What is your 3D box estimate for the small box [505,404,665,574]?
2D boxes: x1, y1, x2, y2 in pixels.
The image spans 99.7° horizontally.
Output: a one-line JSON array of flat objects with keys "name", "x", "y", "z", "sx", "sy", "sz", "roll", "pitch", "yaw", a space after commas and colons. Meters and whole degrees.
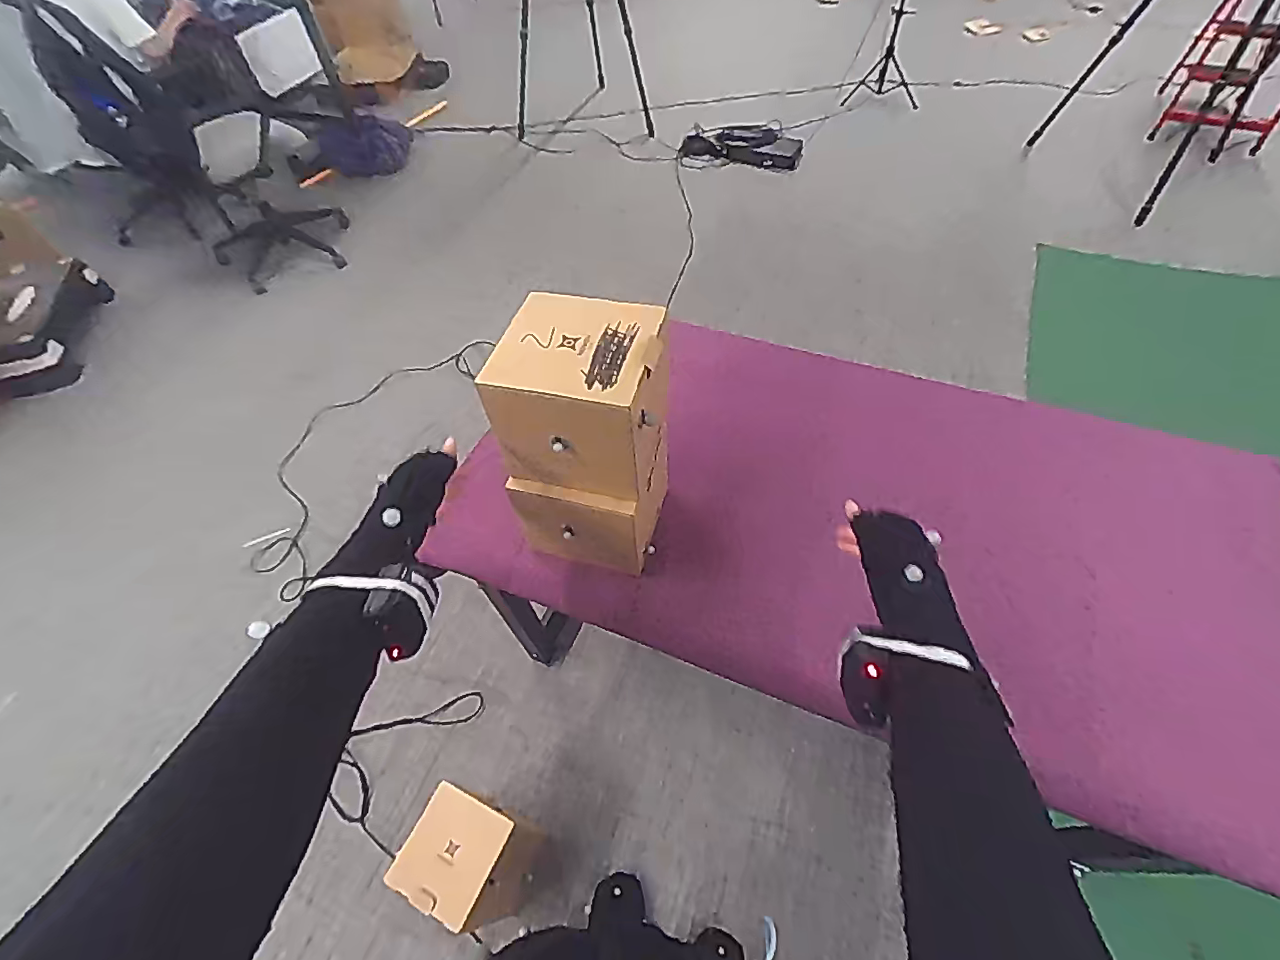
[{"name": "small box", "x": -0.067, "y": 0.018, "z": 0.789, "sx": 0.179, "sy": 0.176, "sz": 0.168, "roll": 12, "pitch": 55, "yaw": 11}]
